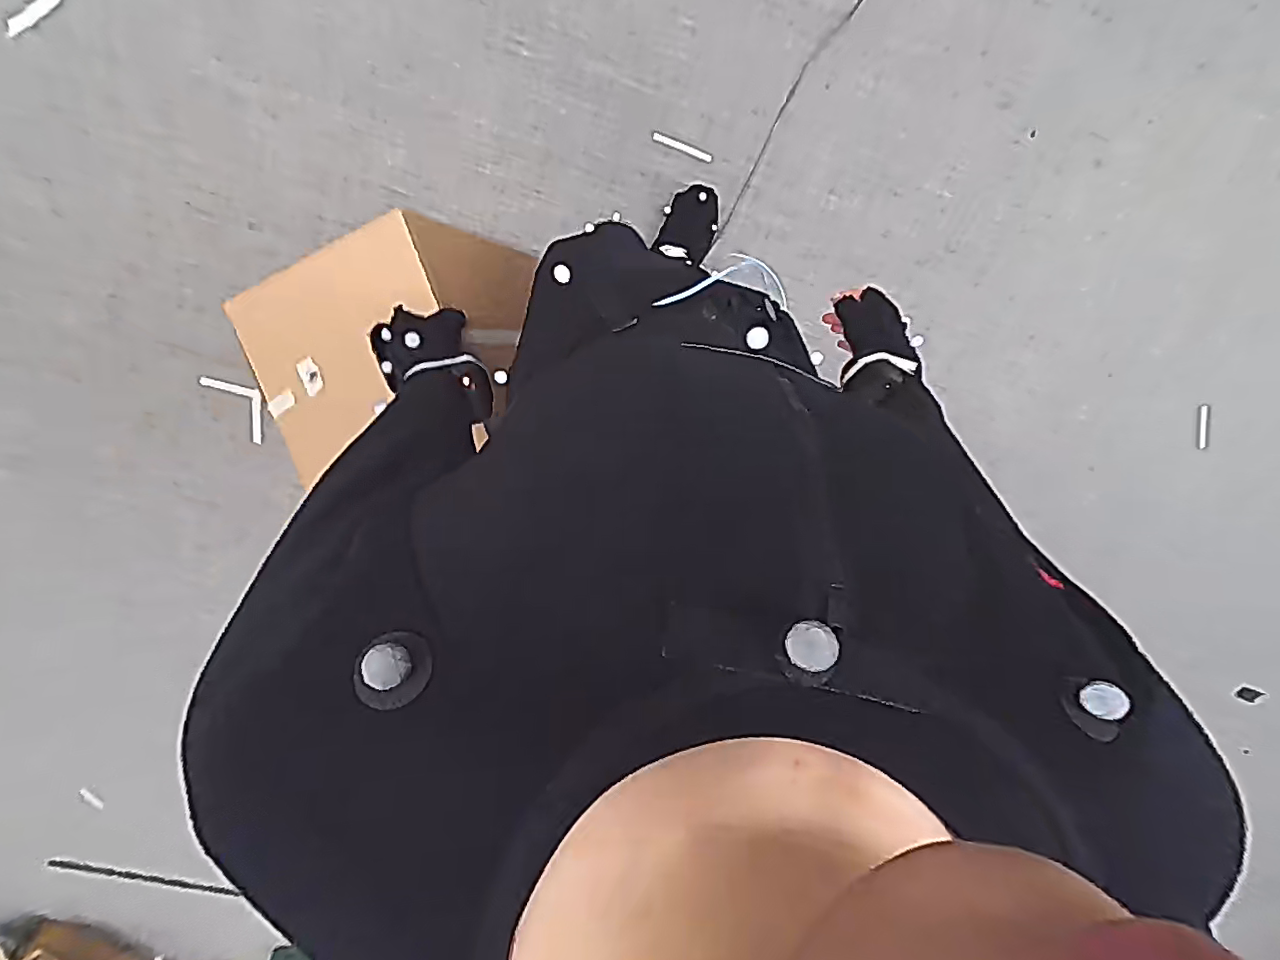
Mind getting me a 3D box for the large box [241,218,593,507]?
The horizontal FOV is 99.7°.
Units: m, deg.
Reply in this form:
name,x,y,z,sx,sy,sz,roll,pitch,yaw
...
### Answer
name,x,y,z,sx,sy,sz,roll,pitch,yaw
large box,-0.322,-0.187,0.902,0.320,0.408,0.320,-15,101,17
